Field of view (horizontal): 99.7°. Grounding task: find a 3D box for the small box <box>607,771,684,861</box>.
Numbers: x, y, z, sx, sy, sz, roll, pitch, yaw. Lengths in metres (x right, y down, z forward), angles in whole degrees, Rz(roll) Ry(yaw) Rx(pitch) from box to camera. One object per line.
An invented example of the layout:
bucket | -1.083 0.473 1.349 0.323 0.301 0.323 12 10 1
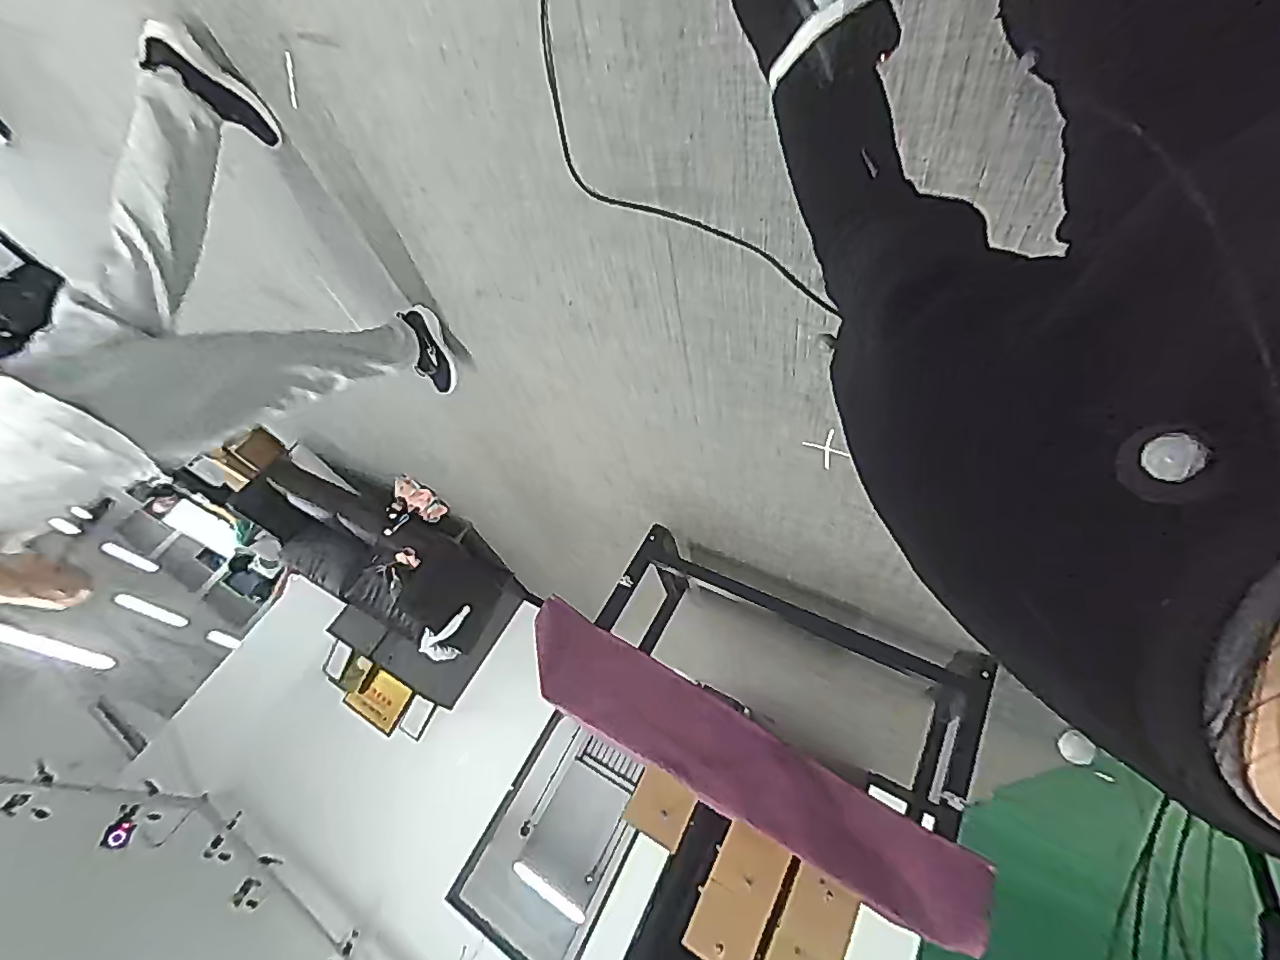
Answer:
small box | 0.022 1.009 1.632 0.179 0.176 0.168 23 152 17
